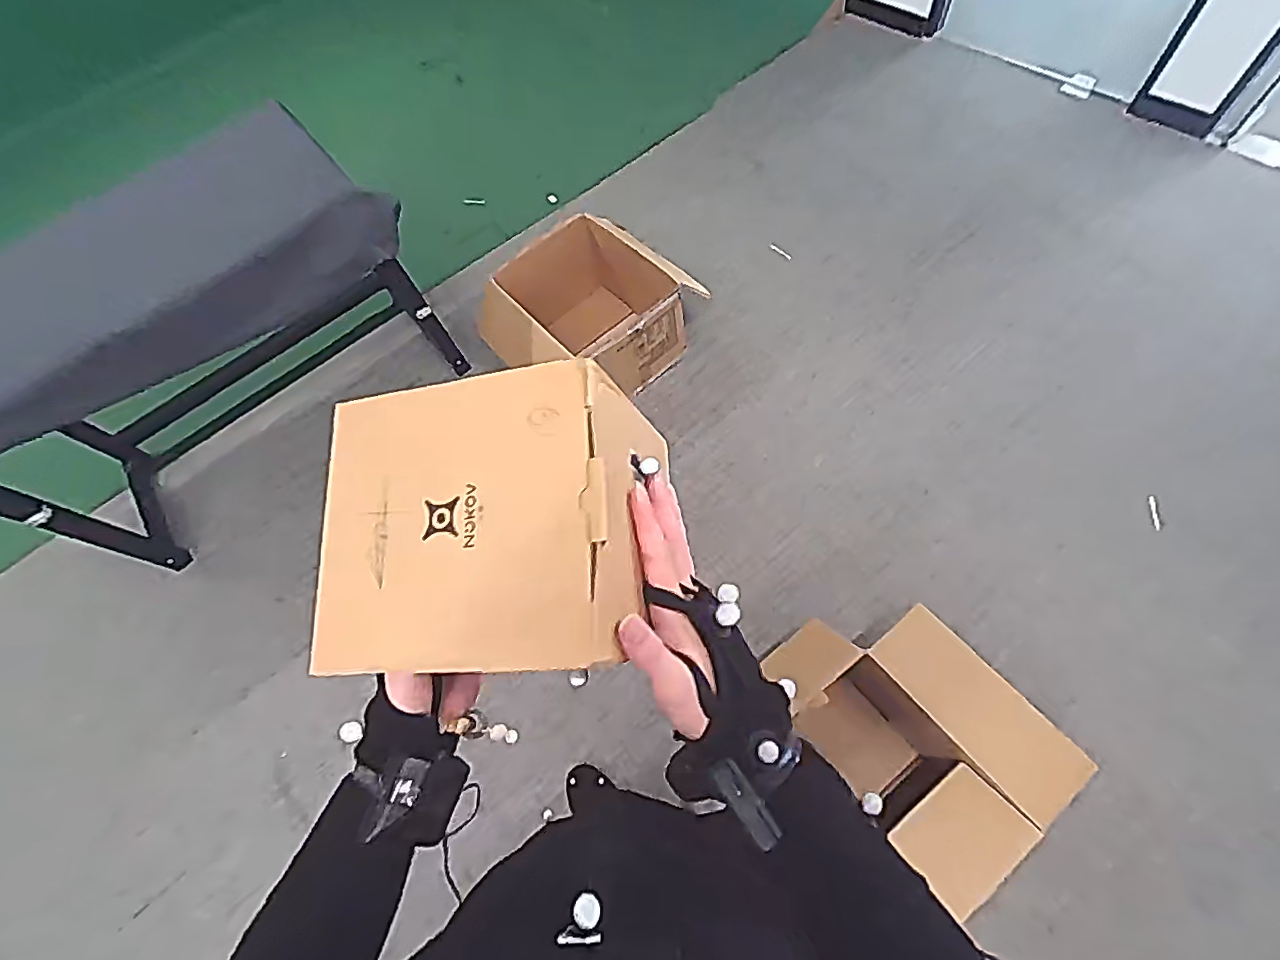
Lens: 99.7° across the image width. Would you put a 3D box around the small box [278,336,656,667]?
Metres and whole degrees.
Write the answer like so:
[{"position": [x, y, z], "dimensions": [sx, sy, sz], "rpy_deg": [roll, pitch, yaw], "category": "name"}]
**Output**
[{"position": [-0.092, 0.030, 0.359], "dimensions": [0.179, 0.176, 0.168], "rpy_deg": [-8, 75, 18], "category": "small box"}]
